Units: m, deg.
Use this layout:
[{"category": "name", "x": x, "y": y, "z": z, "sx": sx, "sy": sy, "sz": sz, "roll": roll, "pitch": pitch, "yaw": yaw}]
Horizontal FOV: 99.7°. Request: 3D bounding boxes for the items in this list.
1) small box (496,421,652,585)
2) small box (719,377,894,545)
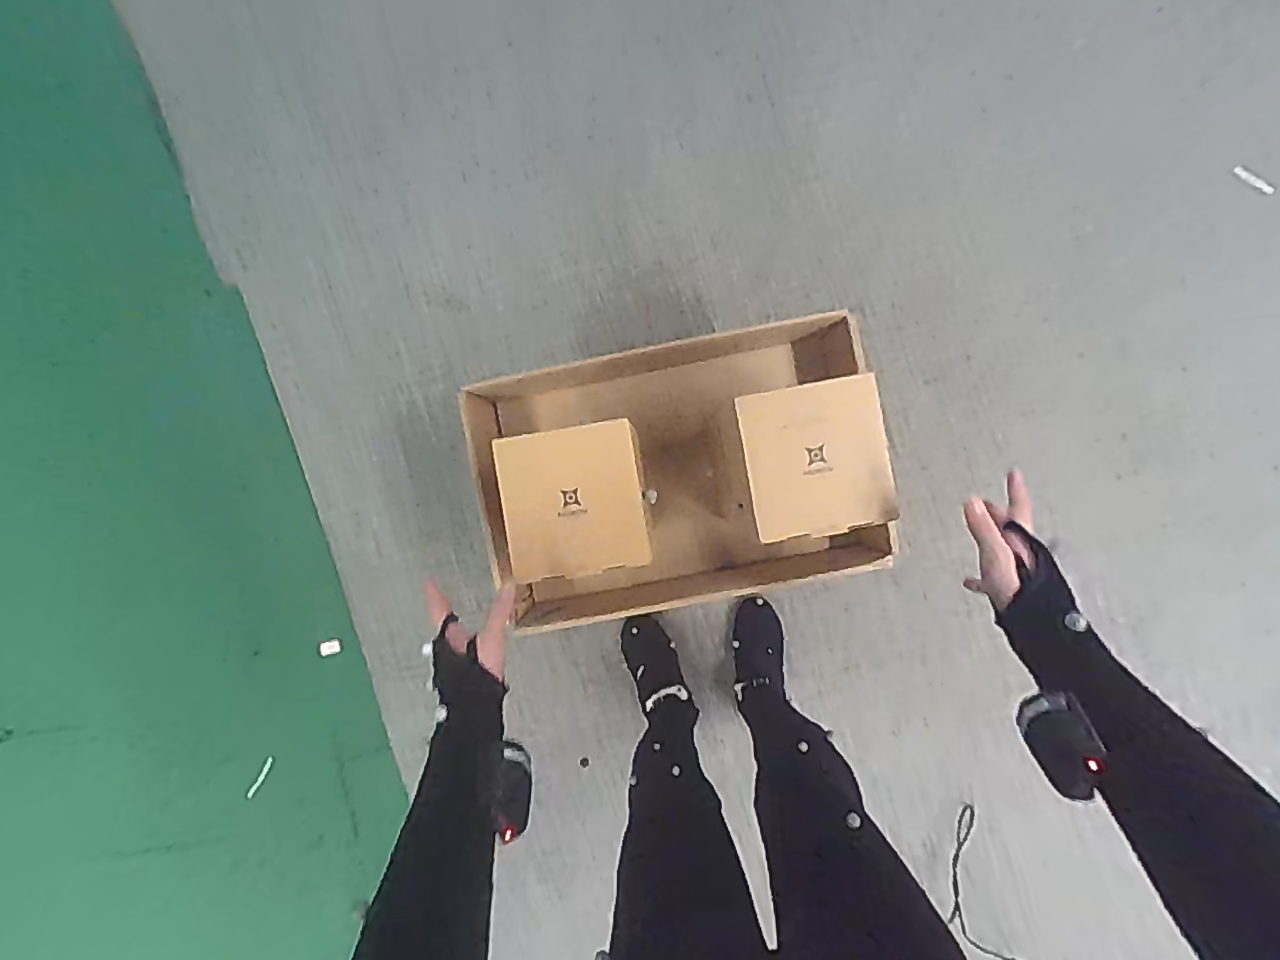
[{"category": "small box", "x": -0.078, "y": 0.028, "z": 0.721, "sx": 0.168, "sy": 0.176, "sz": 0.179, "roll": -10, "pitch": 90, "yaw": 3}, {"category": "small box", "x": 0.203, "y": -0.022, "z": 0.705, "sx": 0.168, "sy": 0.176, "sz": 0.179, "roll": -10, "pitch": 89, "yaw": 2}]
